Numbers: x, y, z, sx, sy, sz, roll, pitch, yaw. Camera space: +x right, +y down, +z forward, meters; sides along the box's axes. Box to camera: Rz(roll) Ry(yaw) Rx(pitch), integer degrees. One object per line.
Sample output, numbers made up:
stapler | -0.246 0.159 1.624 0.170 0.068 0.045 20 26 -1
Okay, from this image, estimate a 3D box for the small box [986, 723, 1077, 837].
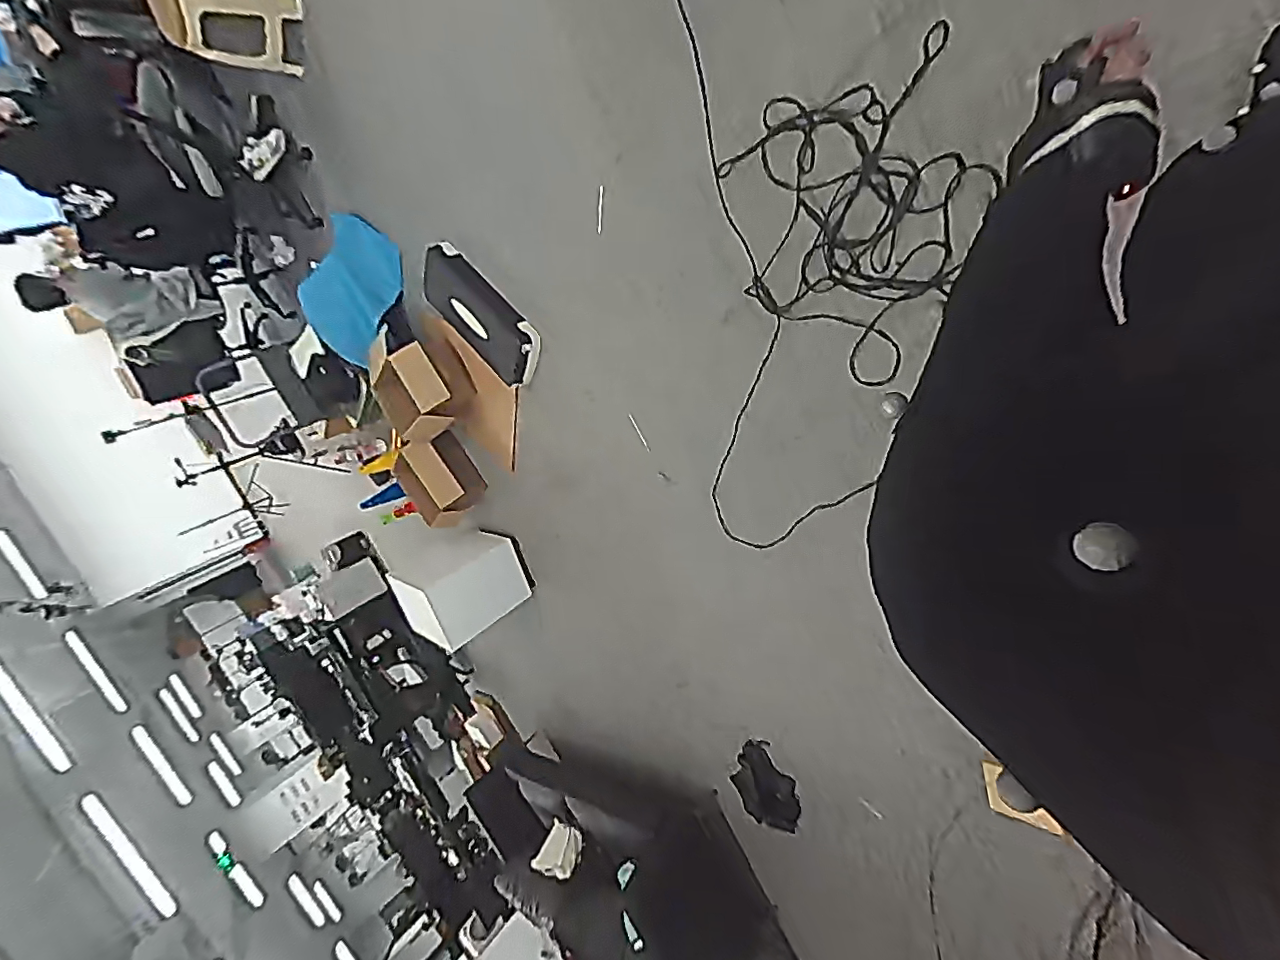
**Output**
small box | 1.068 0.807 1.472 0.168 0.176 0.179 -1 114 47
